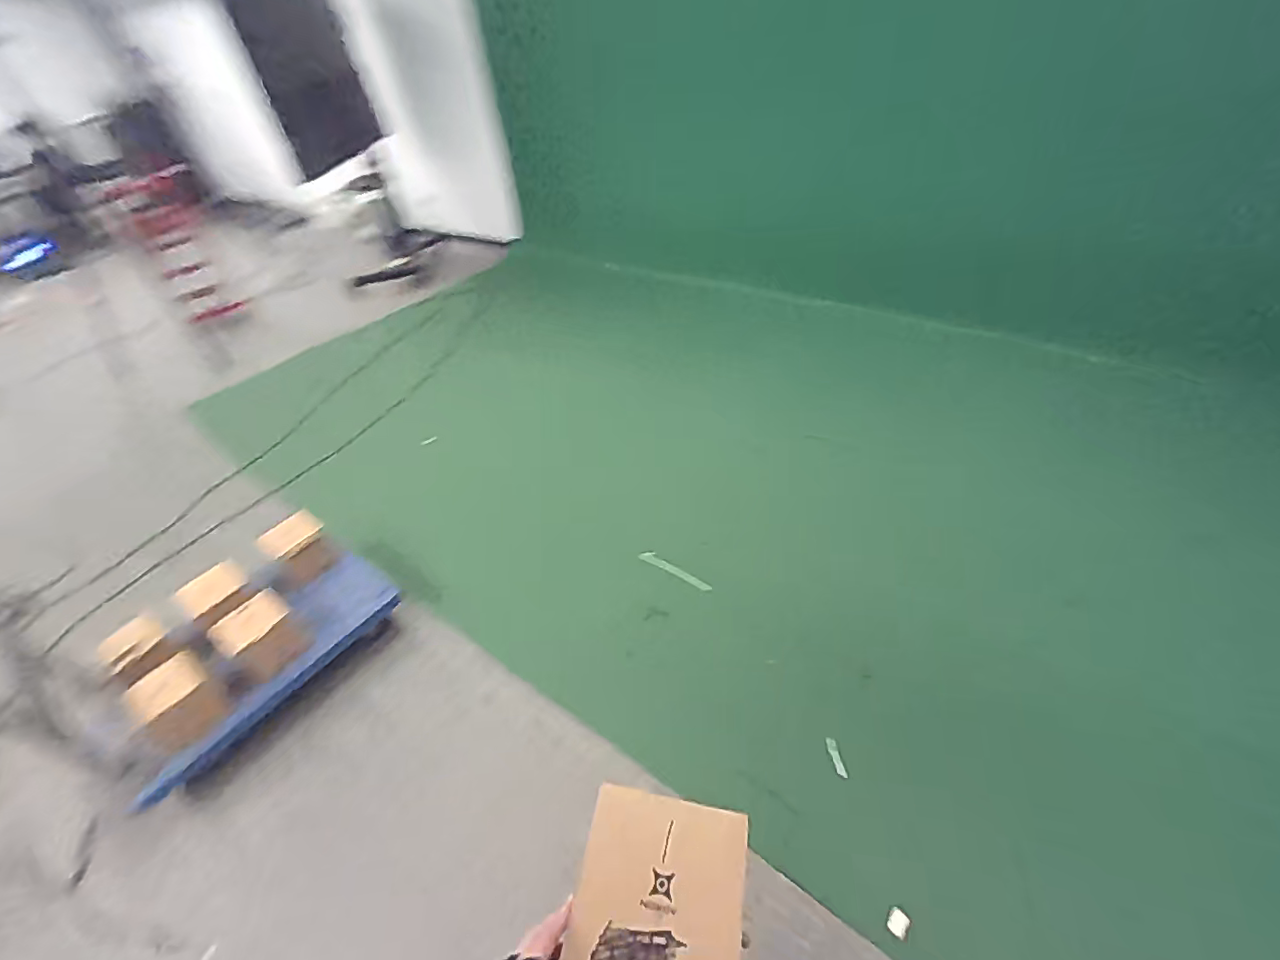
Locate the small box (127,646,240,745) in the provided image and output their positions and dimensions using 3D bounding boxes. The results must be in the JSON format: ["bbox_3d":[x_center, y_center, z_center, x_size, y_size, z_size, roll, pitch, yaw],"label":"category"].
[{"bbox_3d":[-1.327,0.632,1.579,0.168,0.176,0.179,27,51,32],"label":"small box"}]

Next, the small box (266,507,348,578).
[{"bbox_3d":[-1.232,0.235,2.006,0.179,0.176,0.168,24,51,30],"label":"small box"}]

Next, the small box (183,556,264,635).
[{"bbox_3d":[-1.400,0.399,1.853,0.179,0.176,0.168,26,51,30],"label":"small box"}]

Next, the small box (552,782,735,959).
[{"bbox_3d":[0.009,0.472,0.604,0.168,0.176,0.179,8,45,6],"label":"small box"}]

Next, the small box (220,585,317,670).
[{"bbox_3d":[-1.179,0.478,1.728,0.179,0.176,0.168,25,50,31],"label":"small box"}]
